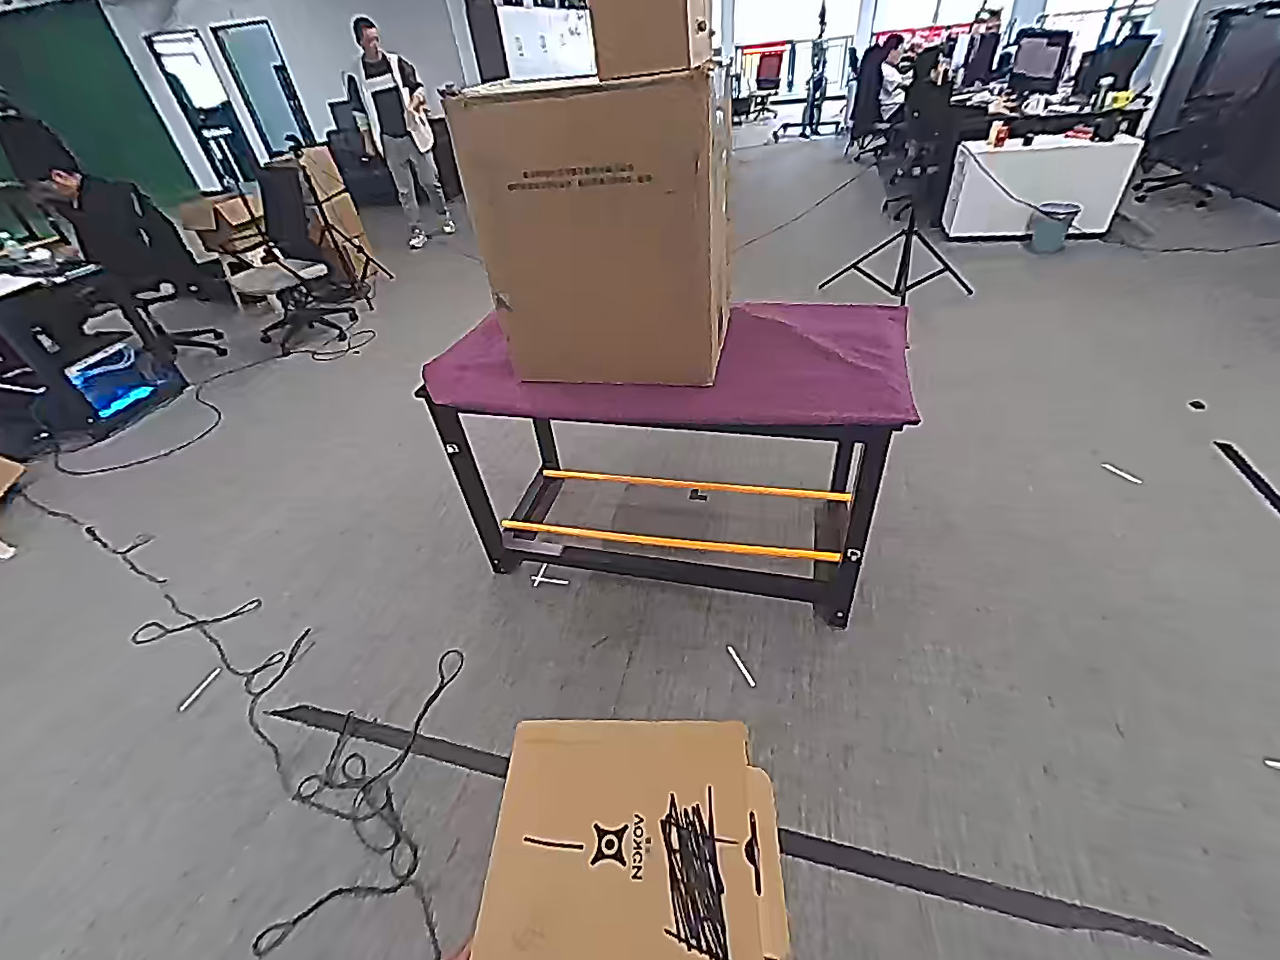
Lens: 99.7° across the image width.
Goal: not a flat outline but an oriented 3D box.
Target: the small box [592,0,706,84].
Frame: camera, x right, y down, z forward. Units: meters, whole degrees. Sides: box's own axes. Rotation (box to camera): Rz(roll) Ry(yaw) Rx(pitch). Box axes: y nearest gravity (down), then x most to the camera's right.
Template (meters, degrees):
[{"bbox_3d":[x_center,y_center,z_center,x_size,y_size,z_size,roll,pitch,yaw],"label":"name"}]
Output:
[{"bbox_3d":[0.018,-0.830,0.974,0.179,0.176,0.168,4,41,15],"label":"small box"}]

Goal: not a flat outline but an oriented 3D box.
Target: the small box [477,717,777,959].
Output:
[{"bbox_3d":[-0.001,0.296,0.404,0.179,0.176,0.168,-1,43,5],"label":"small box"}]
